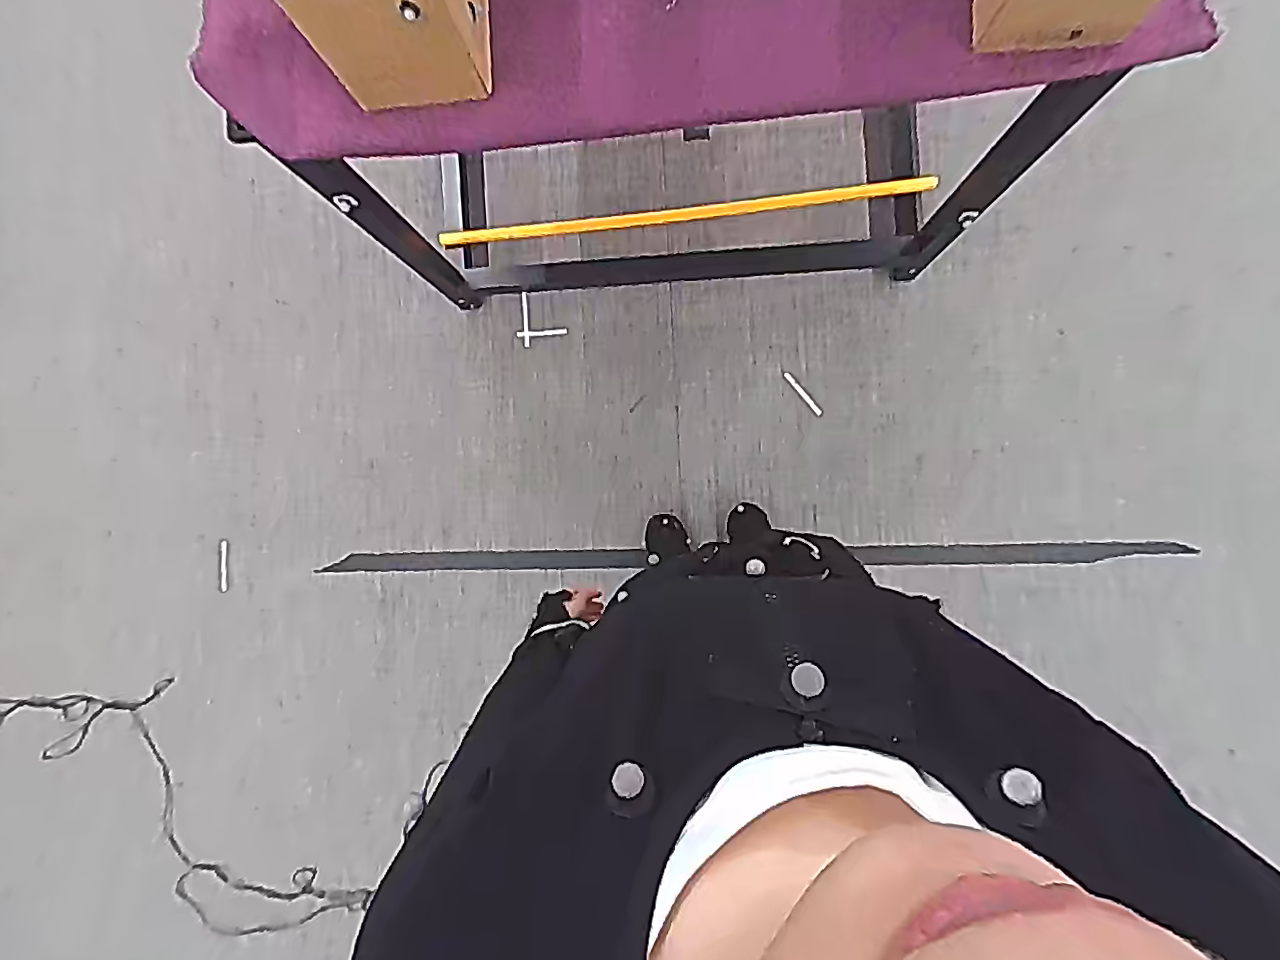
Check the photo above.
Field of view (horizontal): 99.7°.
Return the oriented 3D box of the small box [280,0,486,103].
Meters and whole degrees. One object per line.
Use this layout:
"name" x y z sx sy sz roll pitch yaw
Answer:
"small box" -0.298 -0.582 0.636 0.179 0.176 0.168 -4 87 4
